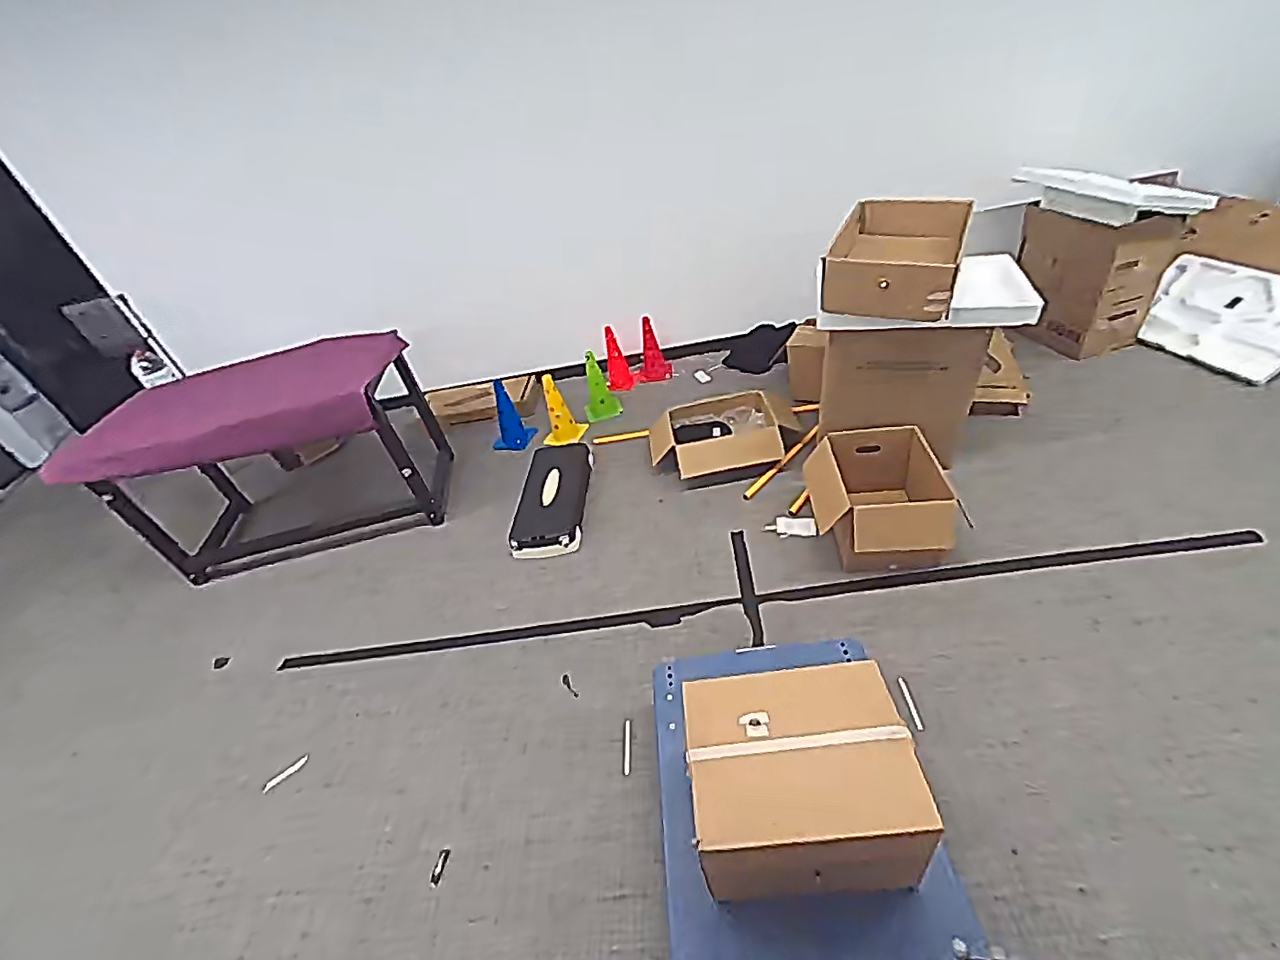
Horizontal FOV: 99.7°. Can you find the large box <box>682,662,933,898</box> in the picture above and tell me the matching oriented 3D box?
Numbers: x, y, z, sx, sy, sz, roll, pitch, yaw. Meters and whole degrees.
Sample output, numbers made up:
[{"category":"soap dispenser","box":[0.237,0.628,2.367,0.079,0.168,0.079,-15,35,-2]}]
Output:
[{"category":"large box","box":[0.318,0.622,1.119,0.408,0.320,0.320,-10,37,6]}]
